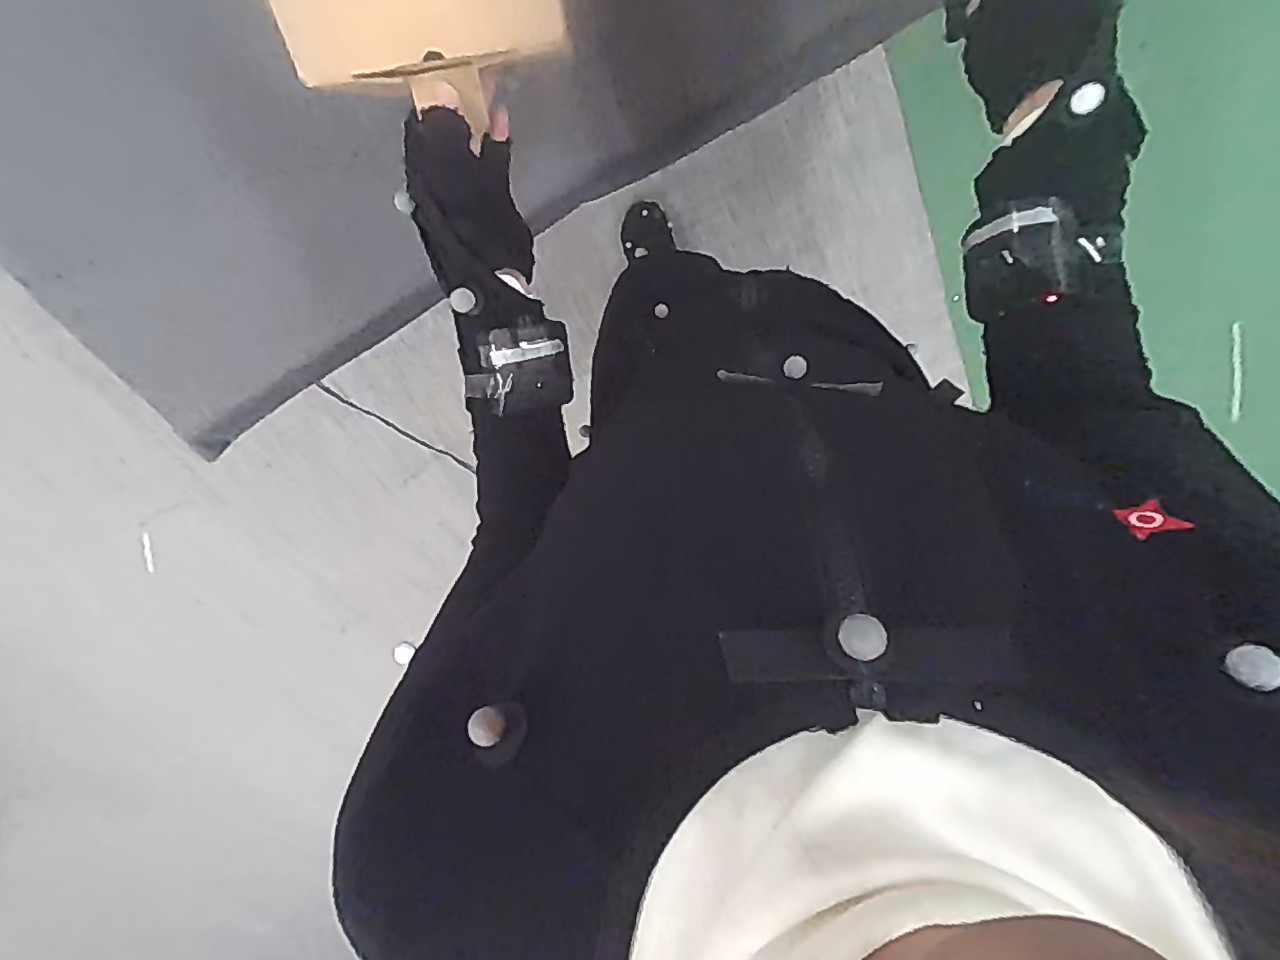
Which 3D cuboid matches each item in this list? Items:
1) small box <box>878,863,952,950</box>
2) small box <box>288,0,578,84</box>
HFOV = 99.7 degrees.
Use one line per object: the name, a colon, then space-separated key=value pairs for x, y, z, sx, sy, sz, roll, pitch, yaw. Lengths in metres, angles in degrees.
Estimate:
small box: x=0.970 y=1.515 z=1.925 sx=0.179 sy=0.176 sz=0.168 roll=-21 pitch=113 yaw=8
small box: x=-0.134 y=-0.373 z=0.349 sx=0.168 sy=0.176 sz=0.179 roll=-9 pitch=123 yaw=-1
